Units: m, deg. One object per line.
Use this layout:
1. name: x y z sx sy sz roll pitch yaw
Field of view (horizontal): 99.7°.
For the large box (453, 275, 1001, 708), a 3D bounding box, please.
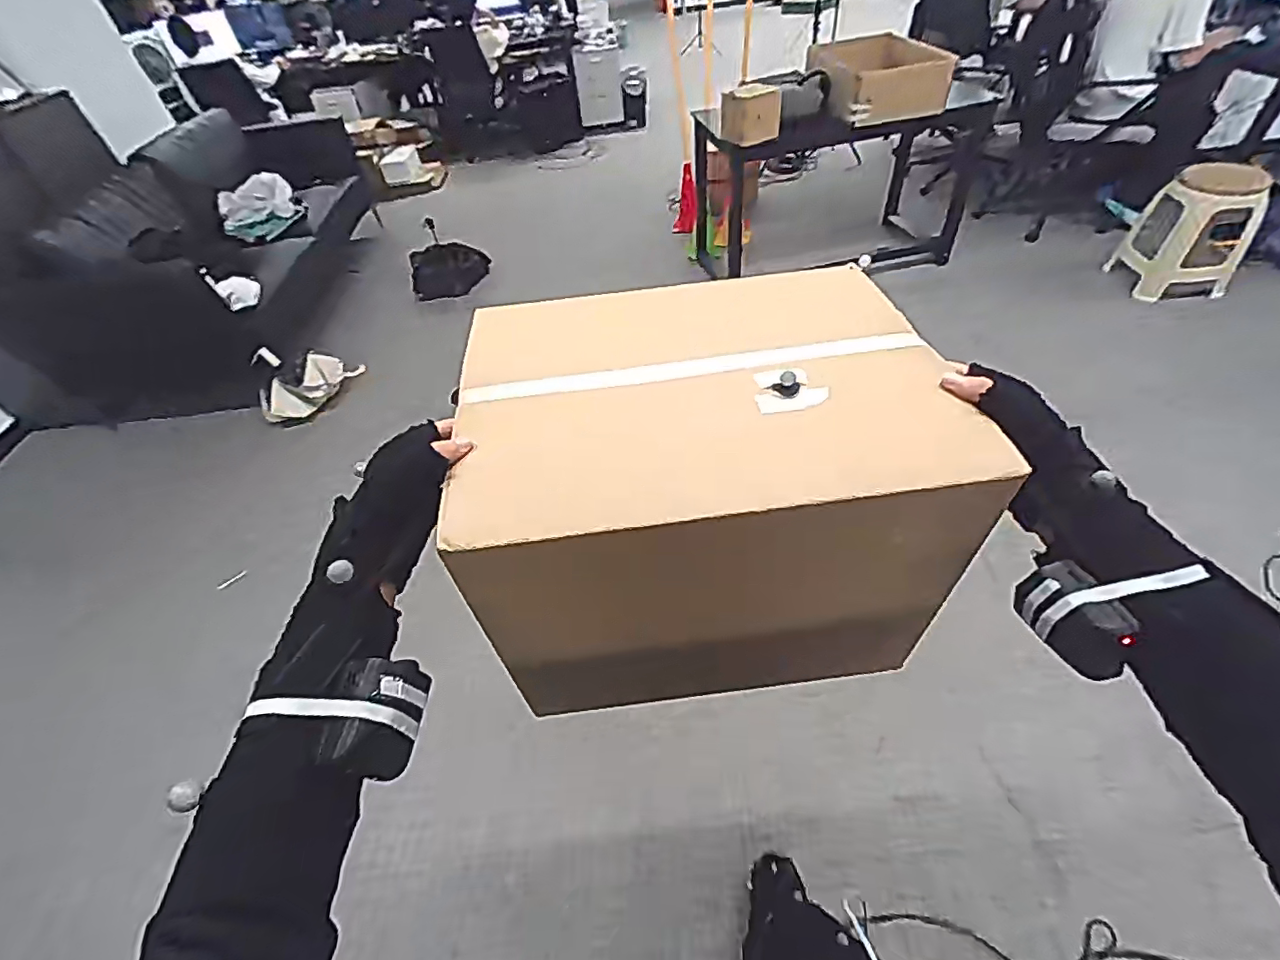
1. large box: 0.055 0.014 0.587 0.408 0.320 0.320 -7 48 -2
